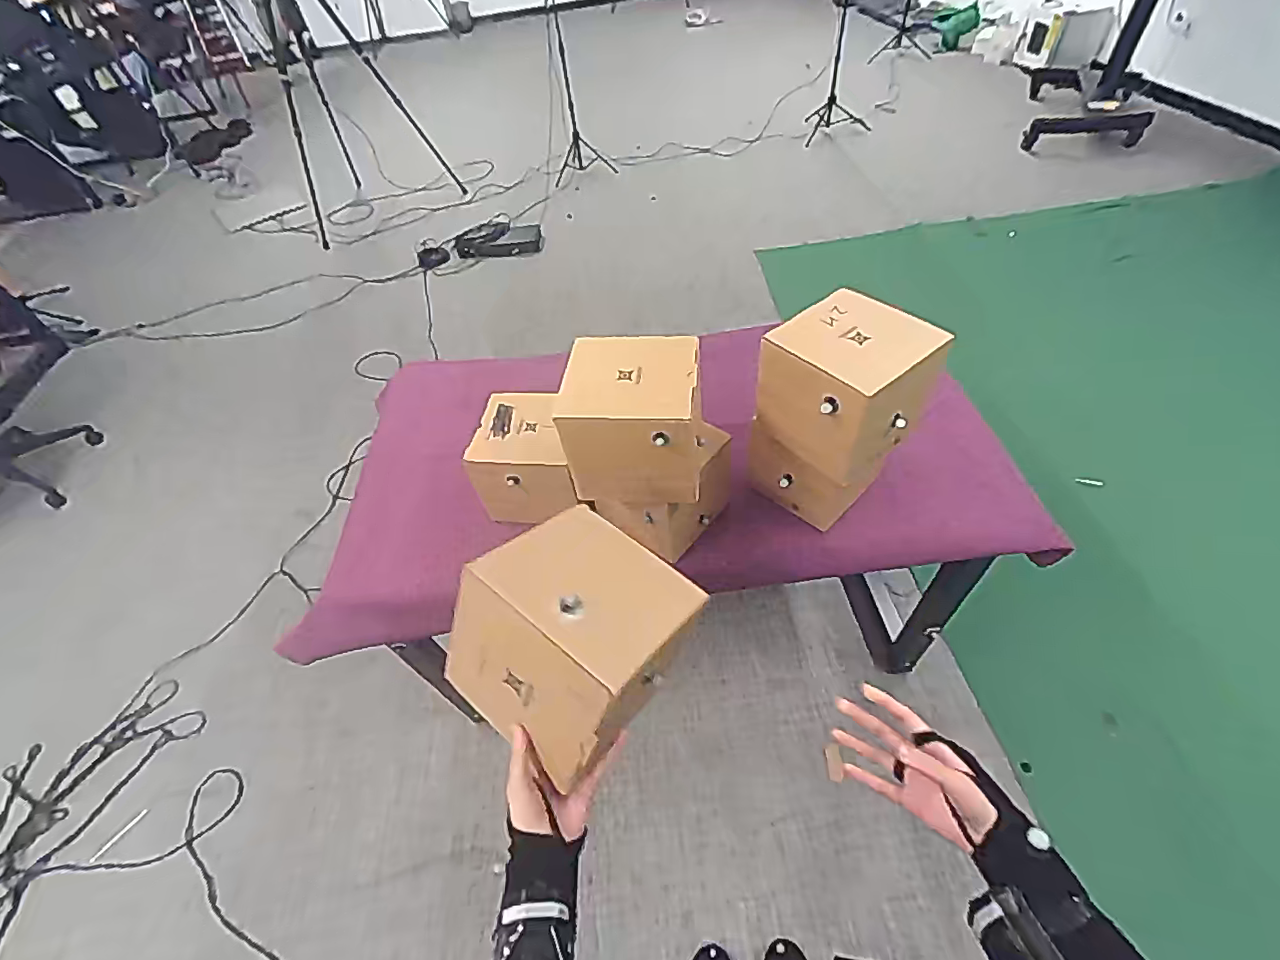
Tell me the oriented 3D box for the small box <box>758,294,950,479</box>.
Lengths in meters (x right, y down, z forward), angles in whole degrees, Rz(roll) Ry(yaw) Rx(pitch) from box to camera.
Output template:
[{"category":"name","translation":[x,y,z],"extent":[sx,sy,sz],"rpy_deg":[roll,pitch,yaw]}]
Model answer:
[{"category":"small box","translation":[0.286,-0.126,0.762],"extent":[0.168,0.176,0.179],"rpy_deg":[-33,52,-20]}]

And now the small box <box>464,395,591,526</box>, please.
[{"category":"small box","translation":[-0.180,-0.032,0.960],"extent":[0.179,0.176,0.168],"rpy_deg":[3,51,8]}]

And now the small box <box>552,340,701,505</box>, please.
[{"category":"small box","translation":[-0.006,-0.079,0.762],"extent":[0.179,0.176,0.168],"rpy_deg":[2,50,8]}]

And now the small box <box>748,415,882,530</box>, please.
[{"category":"small box","translation":[0.300,-0.049,0.912],"extent":[0.179,0.176,0.168],"rpy_deg":[-39,55,-23]}]
